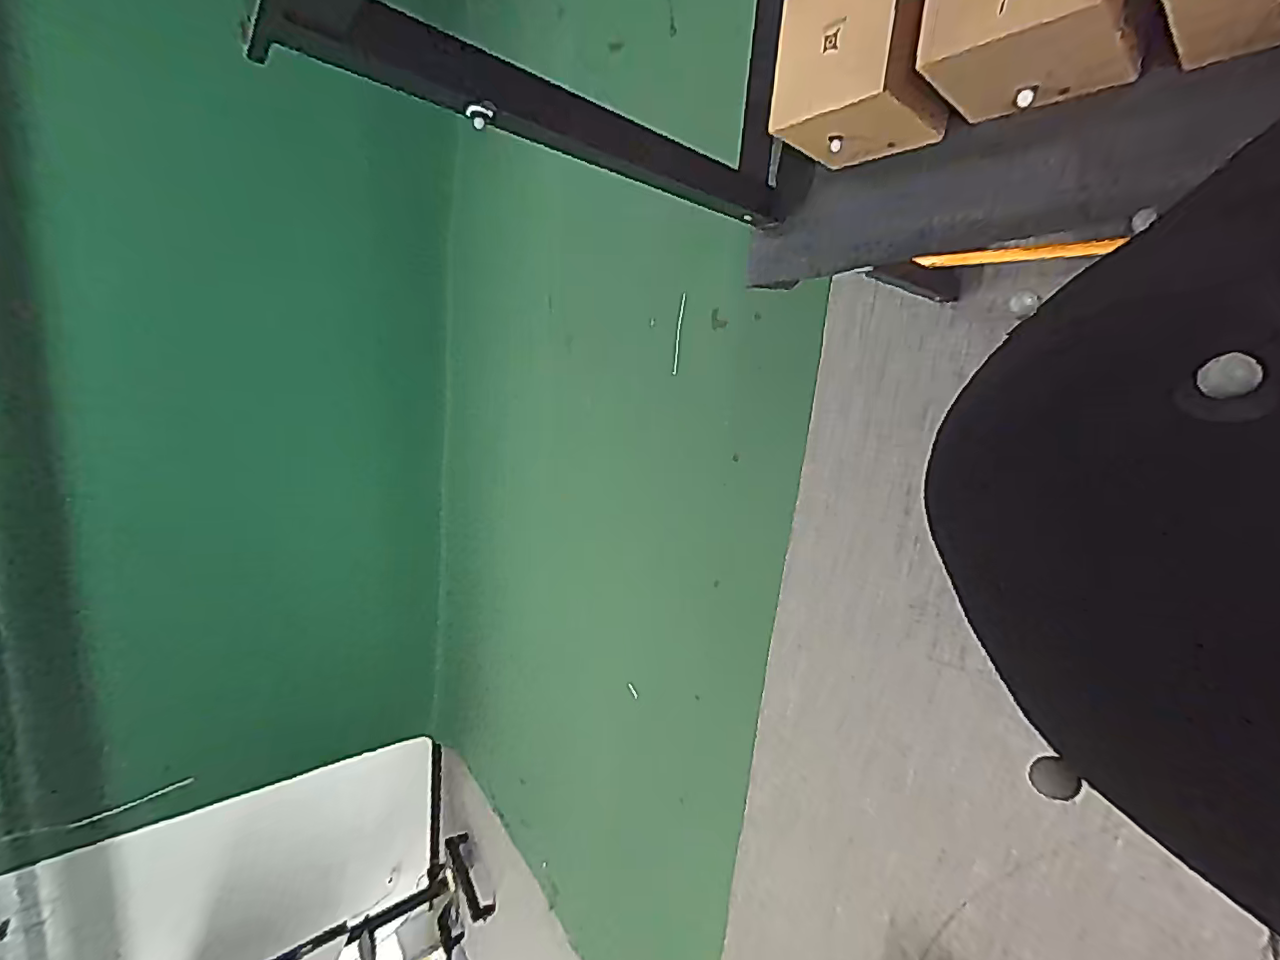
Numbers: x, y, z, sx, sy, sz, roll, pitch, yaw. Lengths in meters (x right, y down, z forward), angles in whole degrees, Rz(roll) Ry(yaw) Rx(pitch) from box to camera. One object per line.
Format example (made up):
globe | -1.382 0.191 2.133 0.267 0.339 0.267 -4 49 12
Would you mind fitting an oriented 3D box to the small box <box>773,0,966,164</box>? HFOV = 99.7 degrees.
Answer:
small box | 0.302 -0.545 0.715 0.168 0.176 0.179 16 104 49
